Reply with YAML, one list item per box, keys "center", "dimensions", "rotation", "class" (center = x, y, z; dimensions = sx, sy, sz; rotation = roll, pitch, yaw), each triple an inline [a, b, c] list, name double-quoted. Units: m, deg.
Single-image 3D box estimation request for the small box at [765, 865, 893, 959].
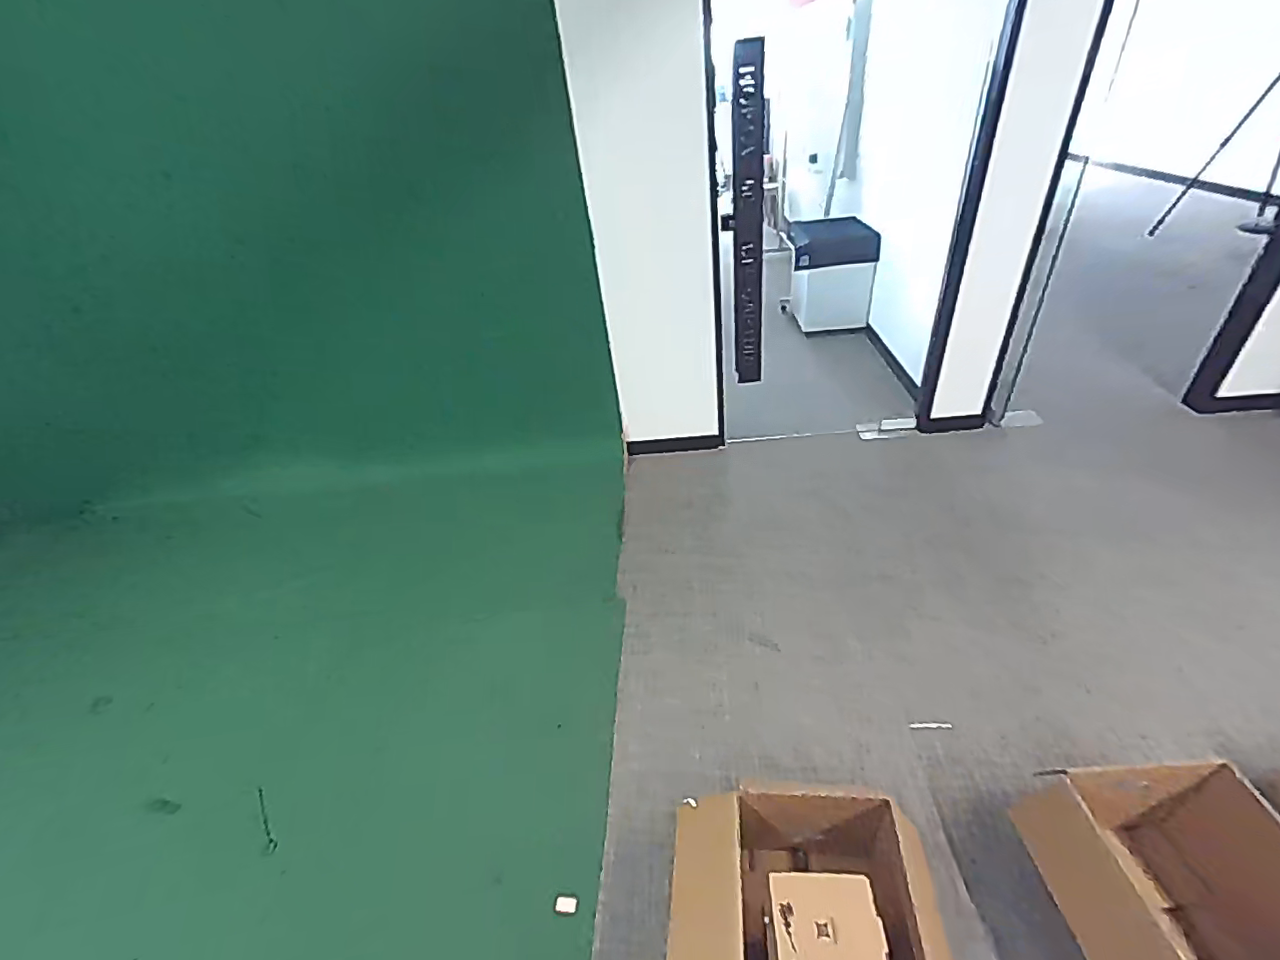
- center: [0.321, 0.804, 0.941]
  dimensions: [0.179, 0.176, 0.168]
  rotation: [0, 35, 5]
  class: "small box"
